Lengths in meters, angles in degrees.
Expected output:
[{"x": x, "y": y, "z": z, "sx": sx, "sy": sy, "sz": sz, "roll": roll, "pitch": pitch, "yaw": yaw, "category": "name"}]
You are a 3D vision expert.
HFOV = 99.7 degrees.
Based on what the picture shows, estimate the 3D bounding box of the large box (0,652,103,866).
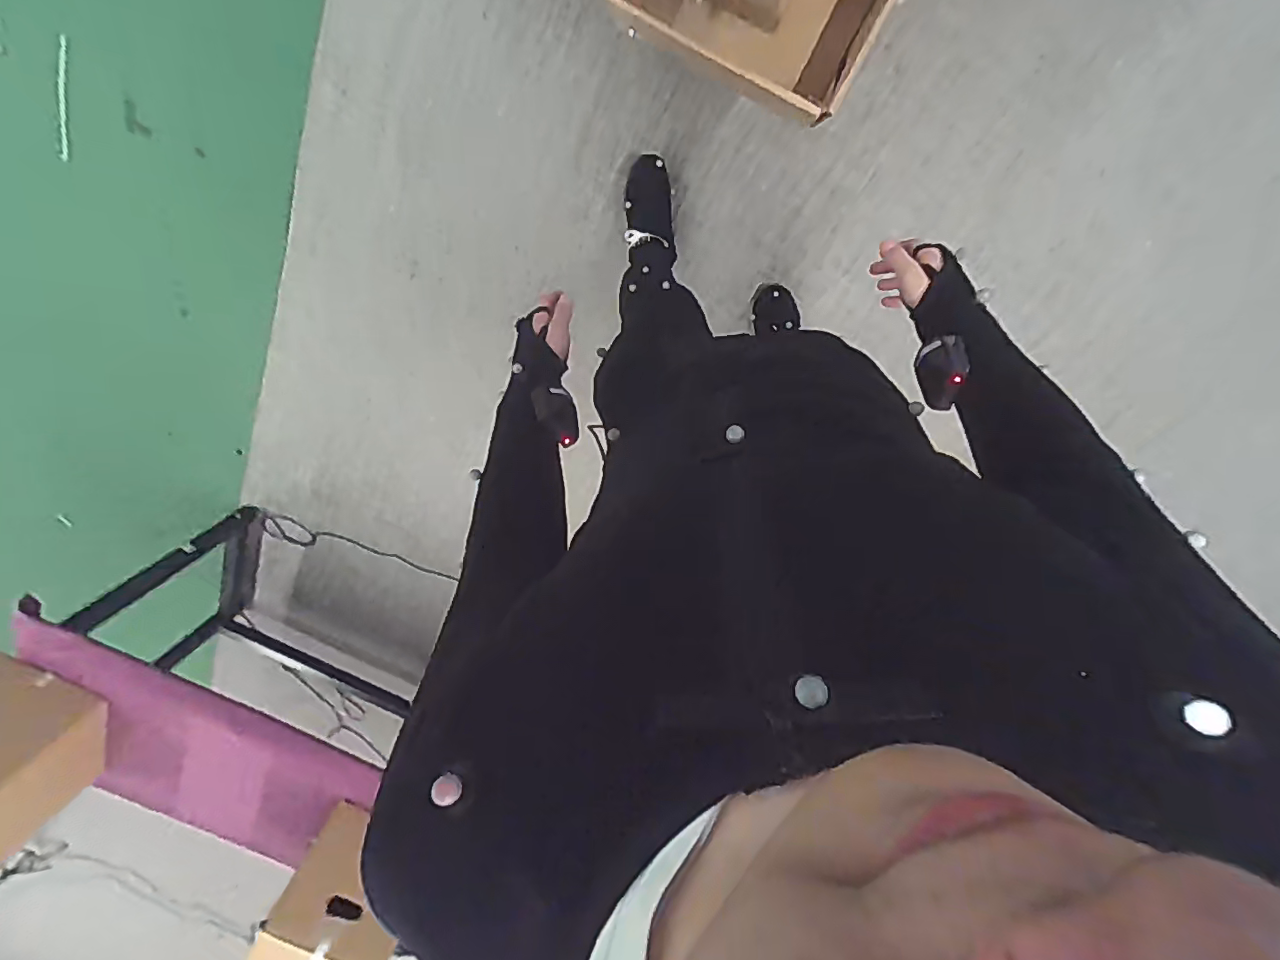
[{"x": -1.665, "y": 0.723, "z": 1.374, "sx": 0.320, "sy": 0.320, "sz": 0.408, "roll": 28, "pitch": 117, "yaw": -8, "category": "large box"}]
